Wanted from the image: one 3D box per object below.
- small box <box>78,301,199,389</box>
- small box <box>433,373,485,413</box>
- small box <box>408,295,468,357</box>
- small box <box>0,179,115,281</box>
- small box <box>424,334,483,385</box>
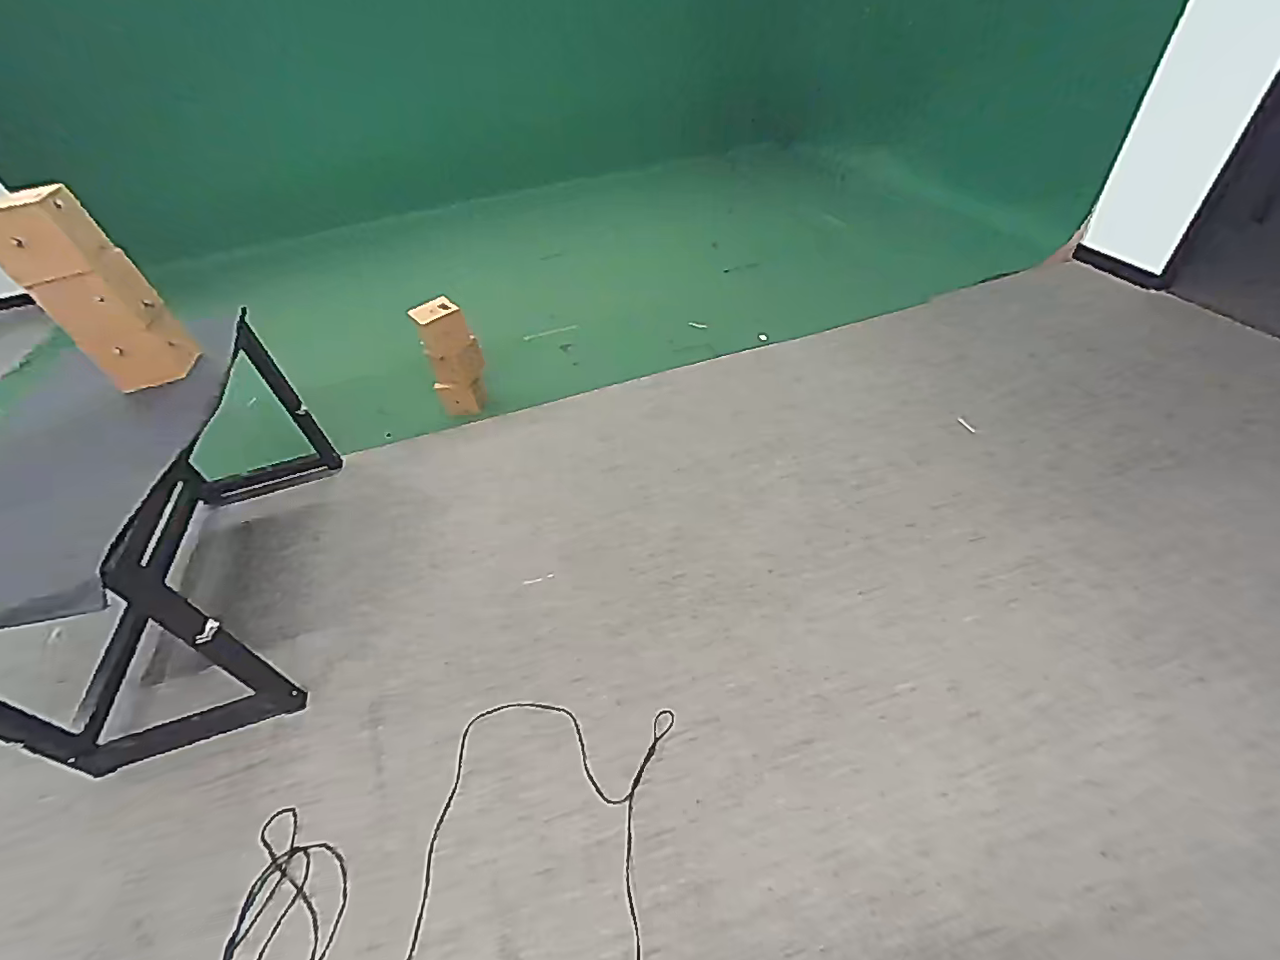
[{"bbox_3d":[-1.454,-0.394,1.584,0.179,0.176,0.168,-17,46,-6],"label":"small box"},{"bbox_3d":[-0.851,-0.433,2.565,0.168,0.176,0.179,-4,45,4],"label":"small box"},{"bbox_3d":[-0.862,-0.664,2.332,0.179,0.176,0.168,-34,51,-22],"label":"small box"},{"bbox_3d":[-1.493,-0.621,1.350,0.179,0.176,0.168,-20,46,-8],"label":"small box"},{"bbox_3d":[-0.837,-0.551,2.450,0.168,0.176,0.179,12,48,18],"label":"small box"}]
